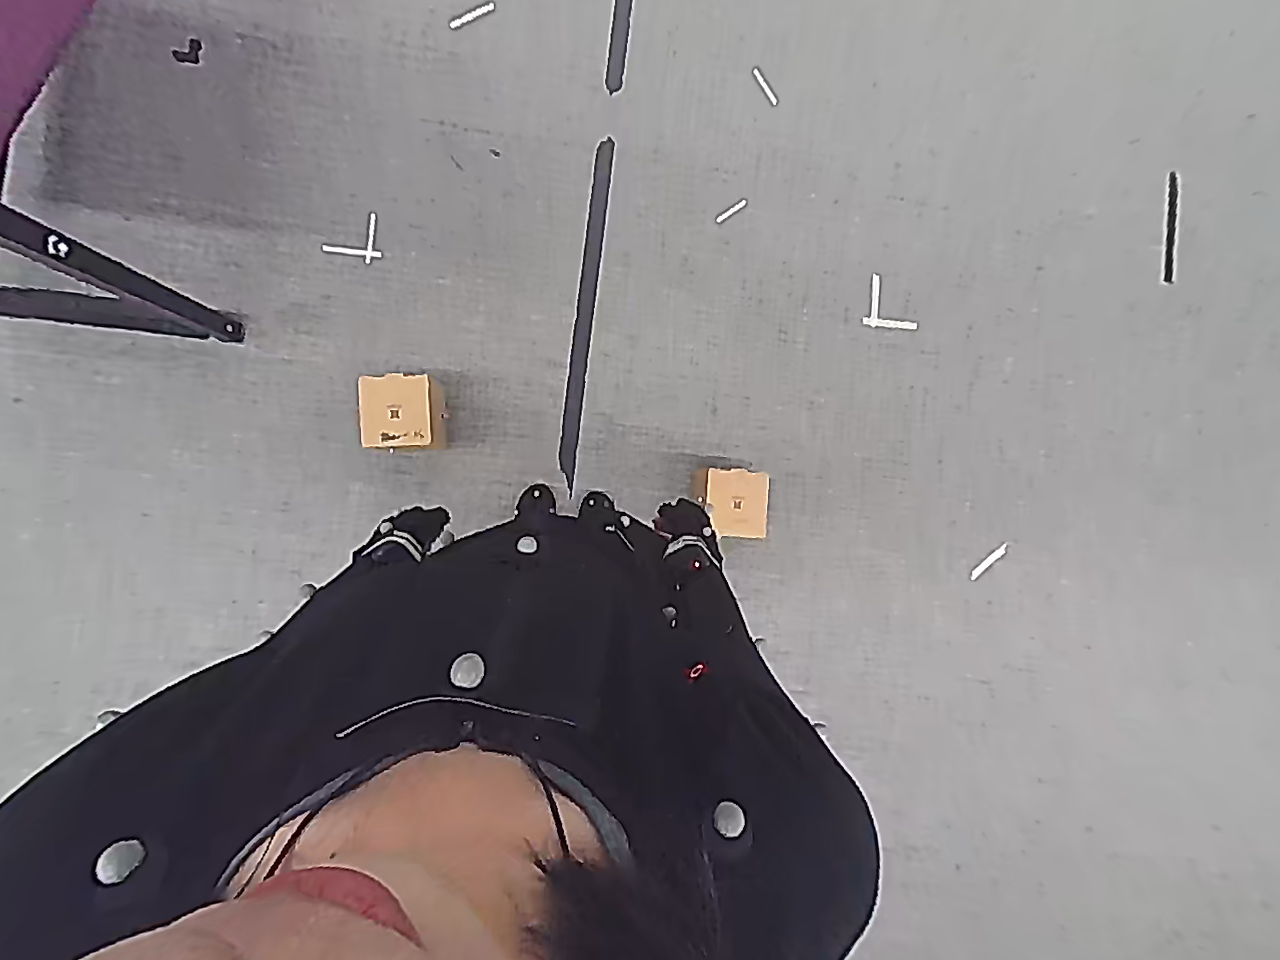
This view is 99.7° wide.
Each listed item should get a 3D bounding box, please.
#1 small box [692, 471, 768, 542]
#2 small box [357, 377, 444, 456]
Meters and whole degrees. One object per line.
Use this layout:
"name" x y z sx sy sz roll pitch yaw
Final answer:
"small box" 0.241 0.072 1.479 0.168 0.176 0.179 3 89 -5
"small box" -0.607 -0.159 1.386 0.168 0.176 0.179 -3 88 -7
